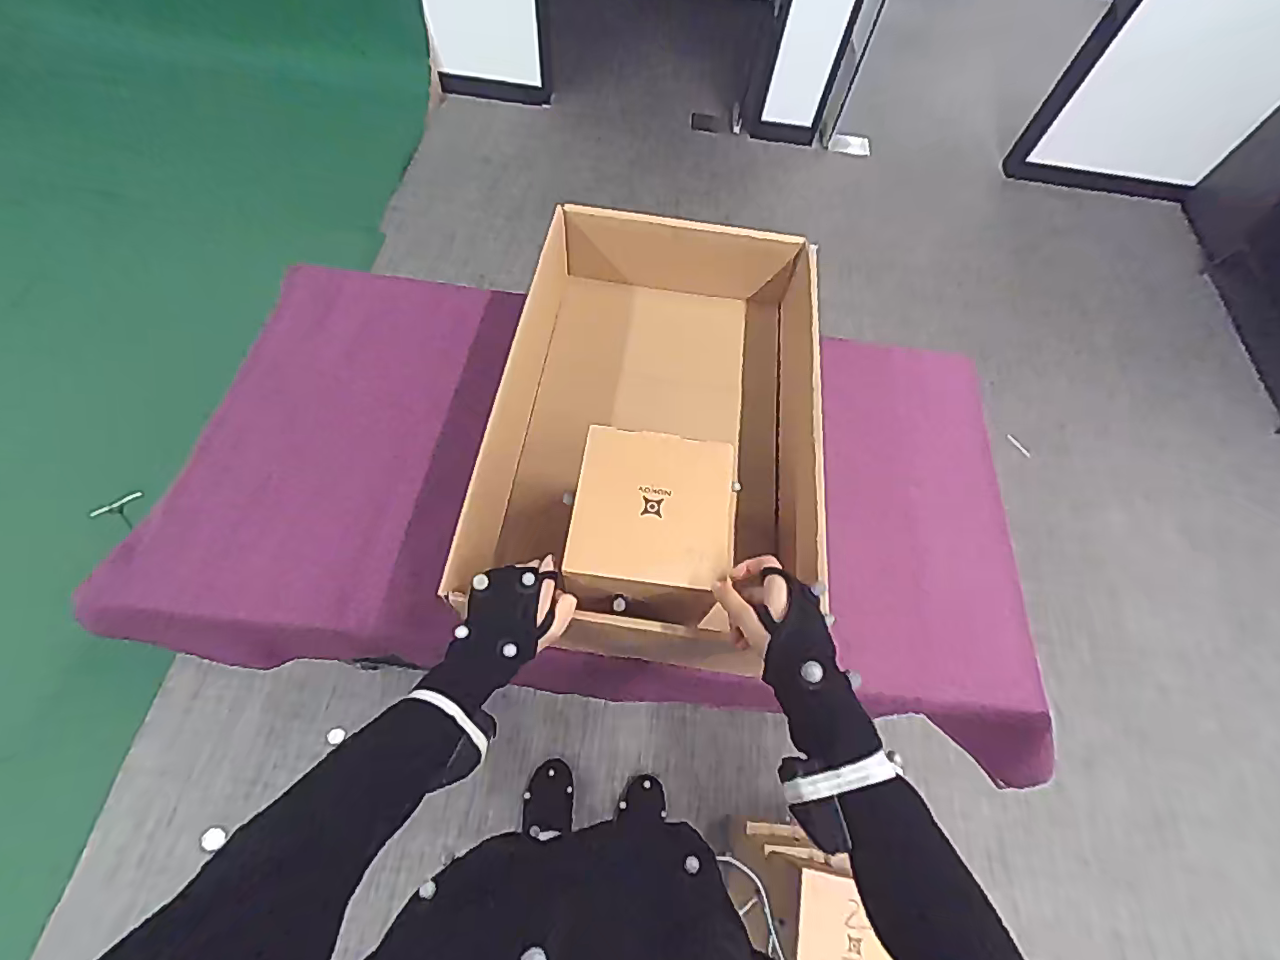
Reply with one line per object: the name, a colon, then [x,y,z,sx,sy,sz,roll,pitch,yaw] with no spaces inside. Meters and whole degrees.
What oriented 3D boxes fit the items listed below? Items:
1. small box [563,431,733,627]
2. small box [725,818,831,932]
small box: [0.011,0.067,0.642,0.168,0.176,0.179,7,62,0]
small box: [0.289,0.832,1.156,0.179,0.176,0.168,6,63,-1]
